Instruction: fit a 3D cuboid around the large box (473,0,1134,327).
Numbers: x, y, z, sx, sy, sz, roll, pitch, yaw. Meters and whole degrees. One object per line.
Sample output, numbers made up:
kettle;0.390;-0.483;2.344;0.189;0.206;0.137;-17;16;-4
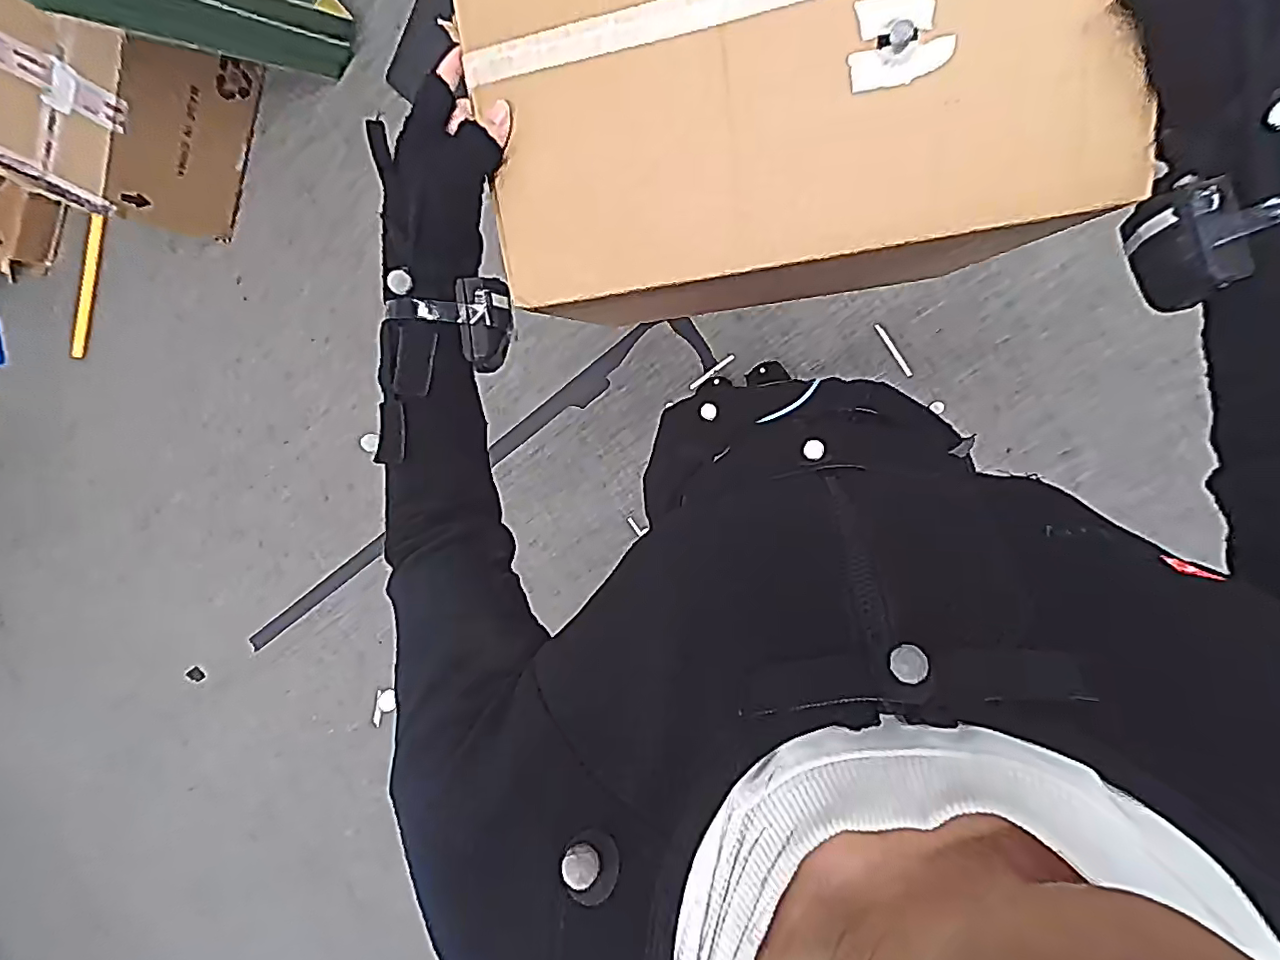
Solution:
large box;0.107;-0.335;0.484;0.408;0.320;0.320;-6;102;10
